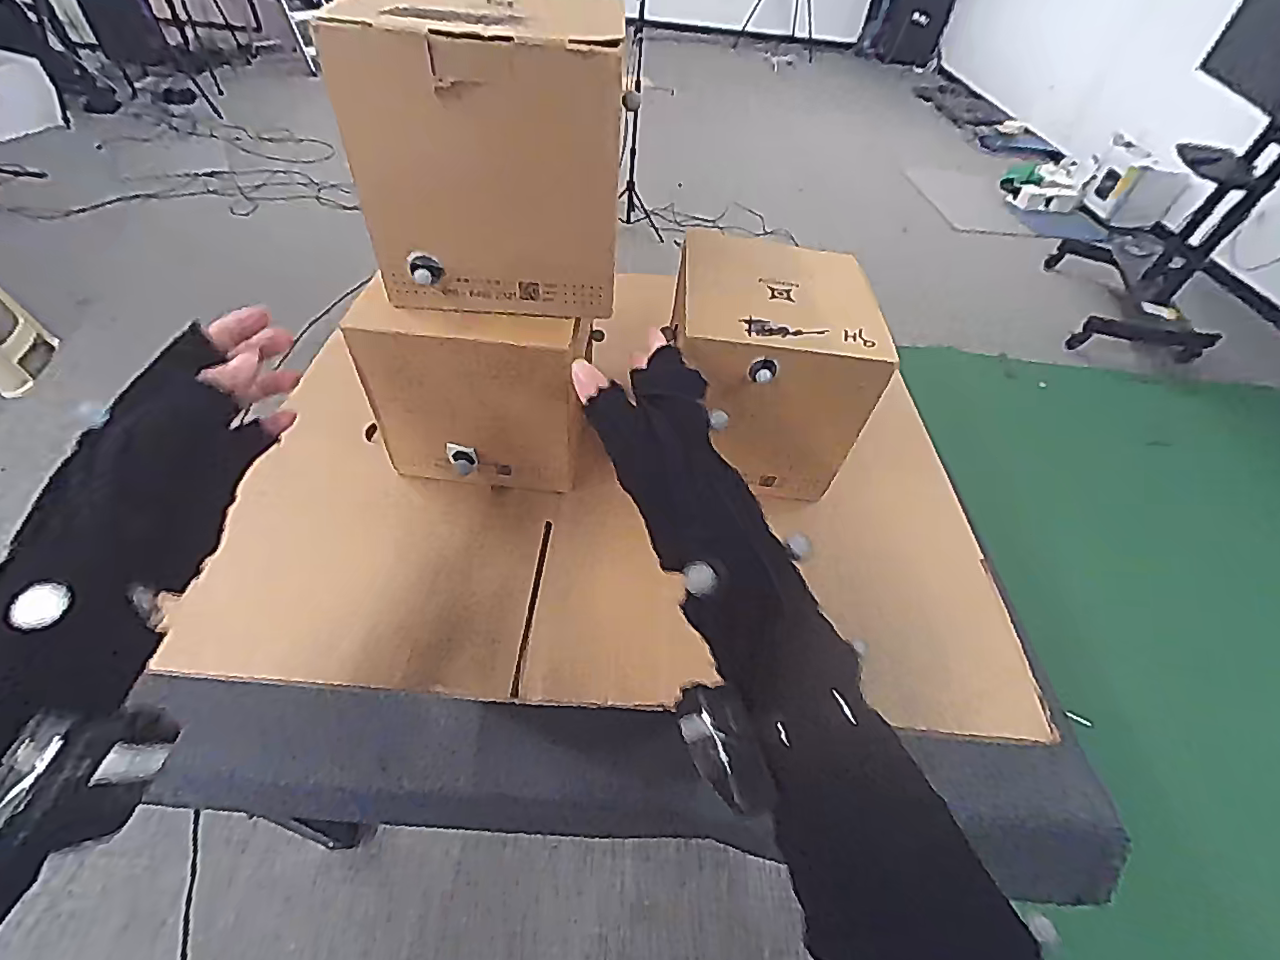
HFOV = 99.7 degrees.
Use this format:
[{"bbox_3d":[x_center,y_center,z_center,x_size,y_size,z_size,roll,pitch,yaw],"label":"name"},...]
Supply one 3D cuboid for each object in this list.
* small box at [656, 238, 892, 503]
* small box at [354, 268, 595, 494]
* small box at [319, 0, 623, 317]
[{"bbox_3d":[0.109,-0.104,0.523,0.168,0.176,0.179,7,48,-2],"label":"small box"},{"bbox_3d":[-0.132,-0.111,0.511,0.168,0.176,0.179,5,50,-1],"label":"small box"},{"bbox_3d":[-0.099,-0.241,0.410,0.168,0.176,0.179,3,48,-4],"label":"small box"}]
